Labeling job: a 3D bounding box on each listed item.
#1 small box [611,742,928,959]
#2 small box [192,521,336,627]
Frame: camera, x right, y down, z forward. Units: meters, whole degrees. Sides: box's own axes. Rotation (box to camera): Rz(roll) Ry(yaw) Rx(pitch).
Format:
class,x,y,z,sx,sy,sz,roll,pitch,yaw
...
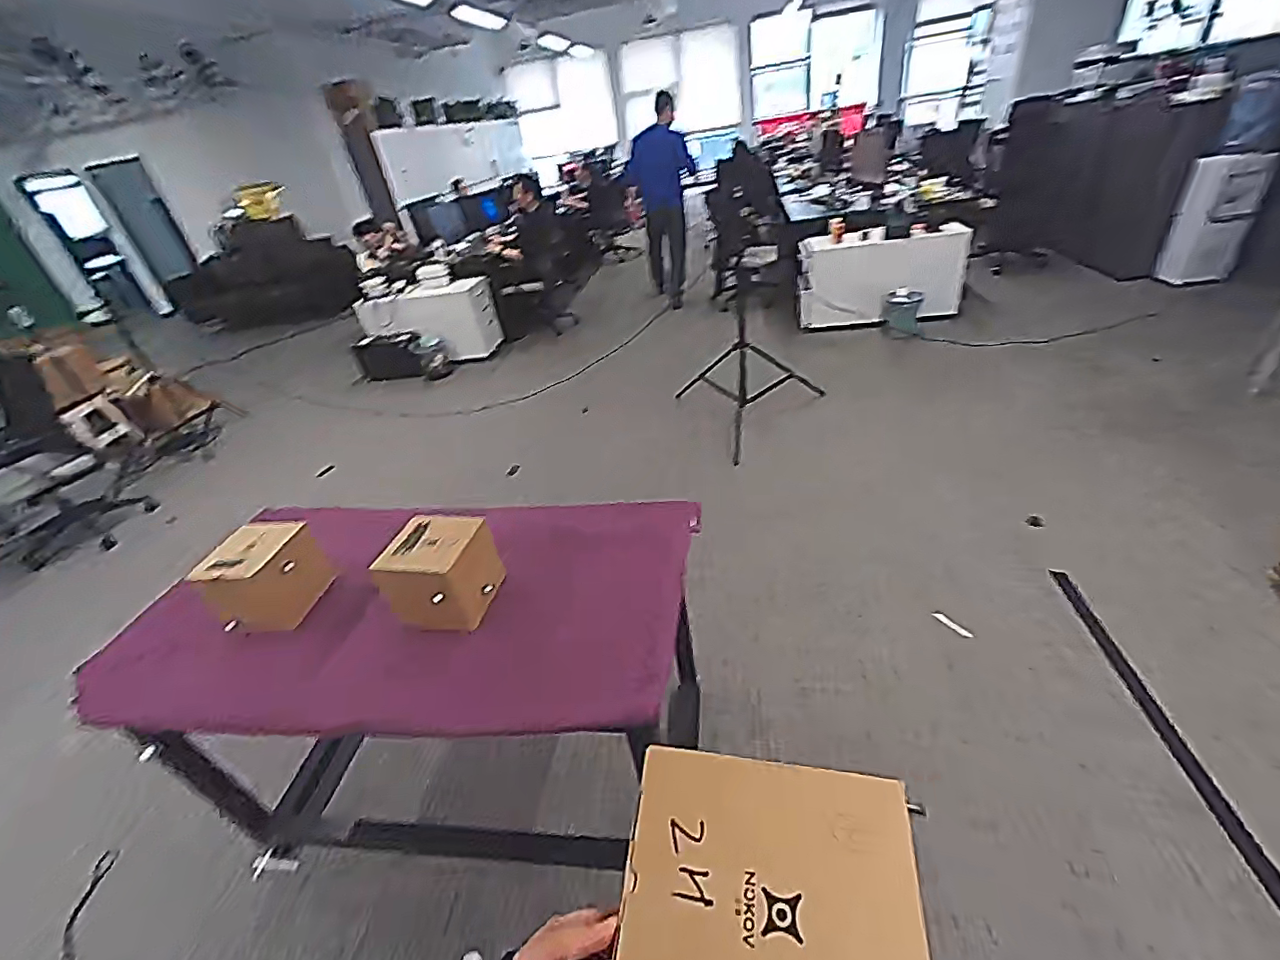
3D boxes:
class,x,y,z,sx,sy,sz,roll,pitch,yaw
small box,0.084,0.307,0.374,0.179,0.176,0.168,2,45,12
small box,-0.826,0.212,1.212,0.168,0.176,0.179,-2,34,11
